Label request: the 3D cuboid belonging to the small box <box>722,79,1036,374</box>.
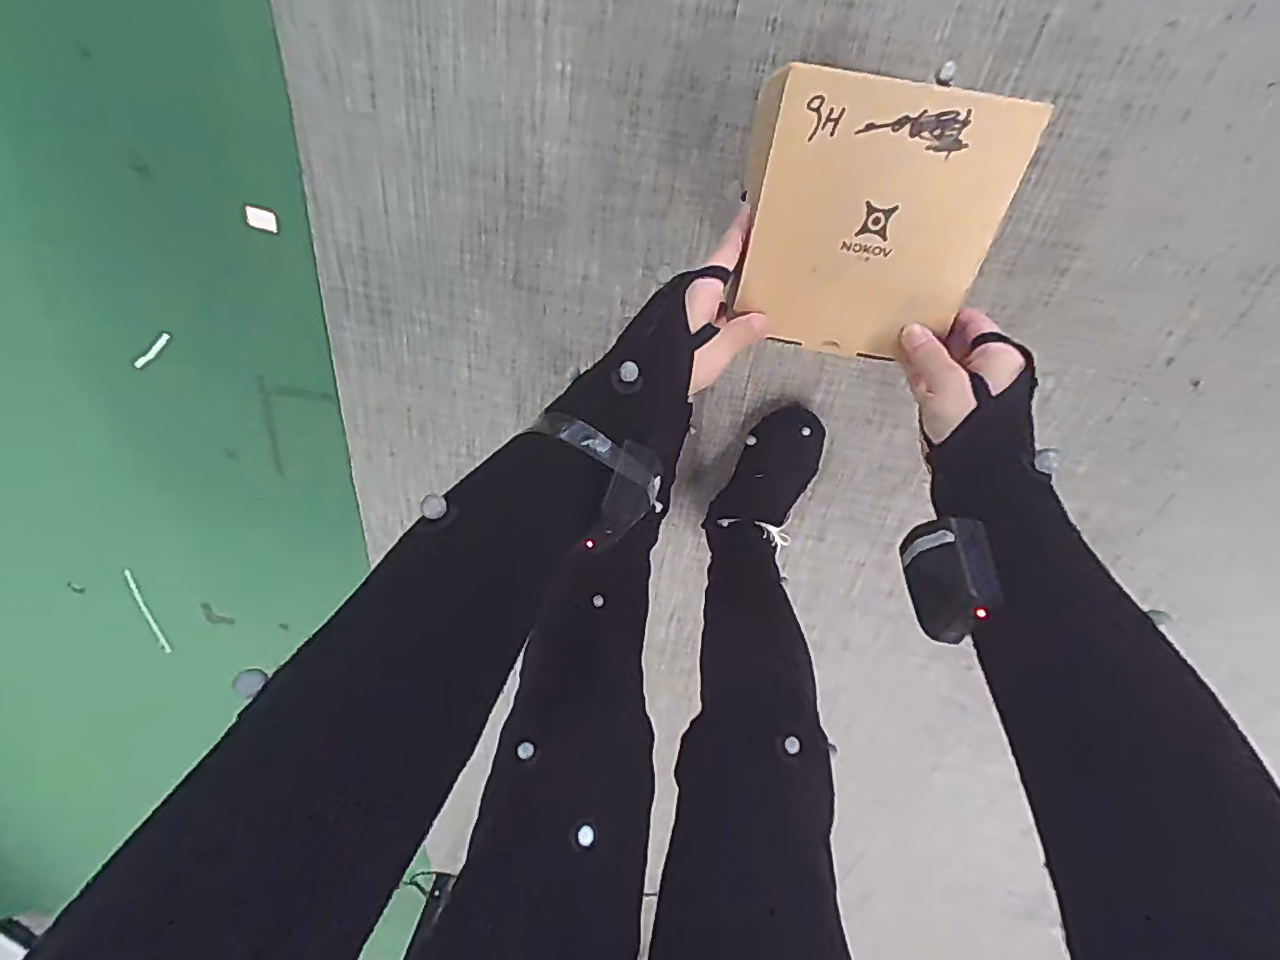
[{"bbox_3d":[0.167,-0.213,0.451,0.168,0.176,0.179,9,125,1],"label":"small box"}]
